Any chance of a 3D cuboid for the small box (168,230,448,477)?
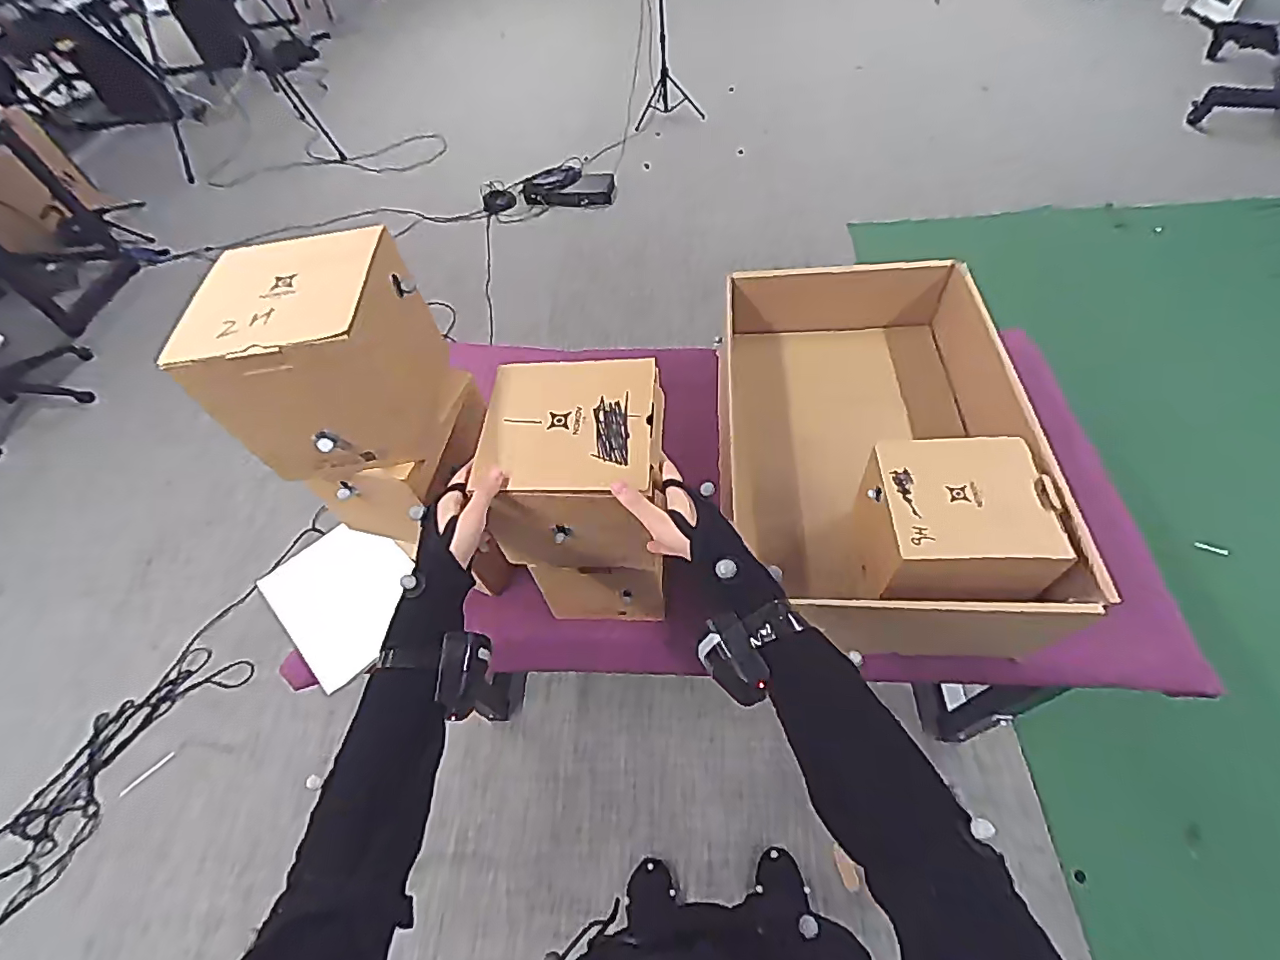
[{"bbox_3d":[-0.315,-0.127,0.563,0.168,0.176,0.179,-9,54,2],"label":"small box"}]
